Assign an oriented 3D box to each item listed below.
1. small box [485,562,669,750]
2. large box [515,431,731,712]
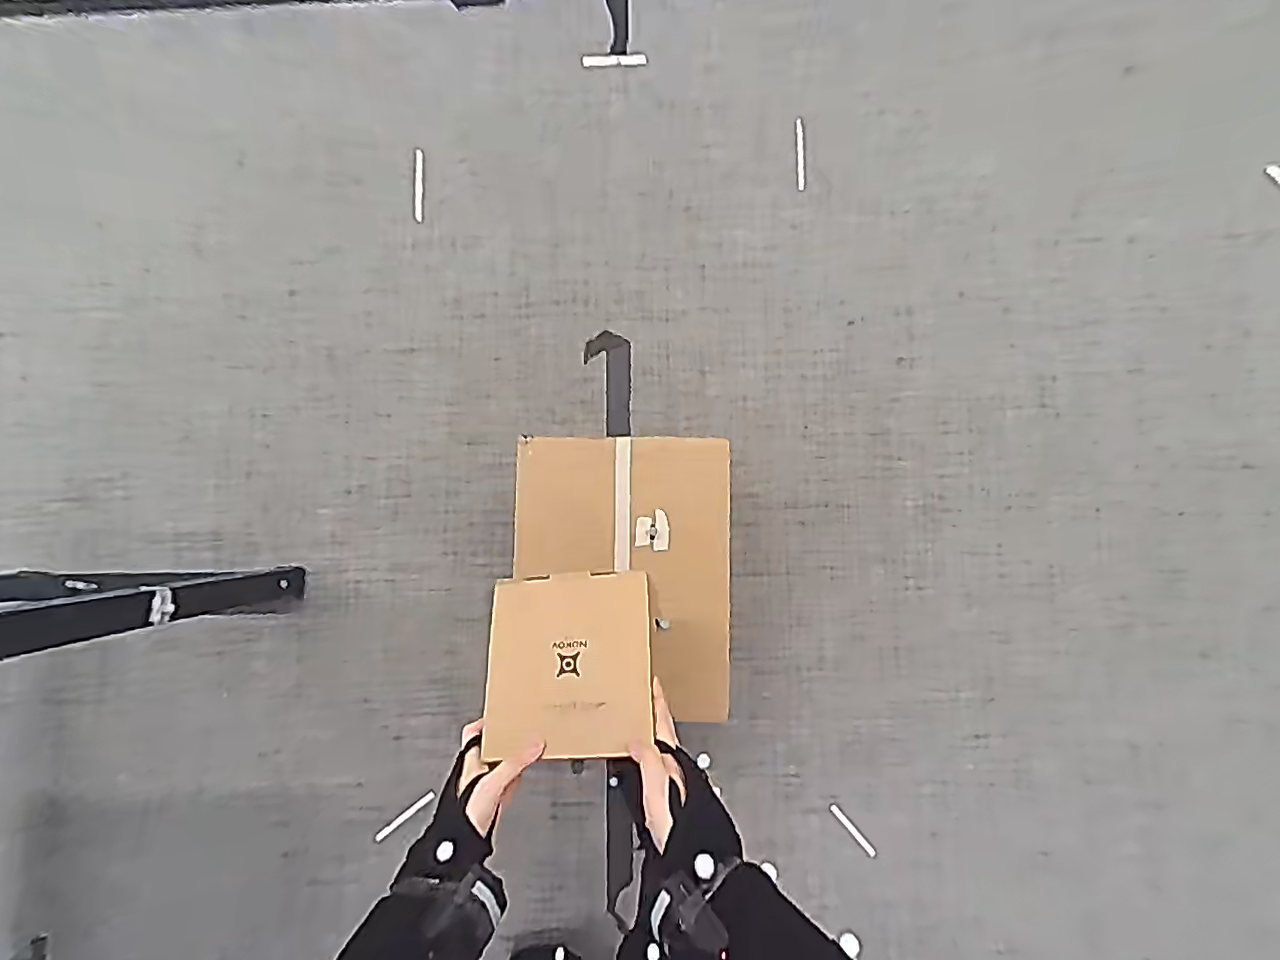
[{"bbox_3d":[-0.056,0.202,0.603,0.168,0.176,0.179,-4,65,6],"label":"small box"},{"bbox_3d":[-0.023,0.141,0.922,0.320,0.320,0.408,1,85,0],"label":"large box"}]
